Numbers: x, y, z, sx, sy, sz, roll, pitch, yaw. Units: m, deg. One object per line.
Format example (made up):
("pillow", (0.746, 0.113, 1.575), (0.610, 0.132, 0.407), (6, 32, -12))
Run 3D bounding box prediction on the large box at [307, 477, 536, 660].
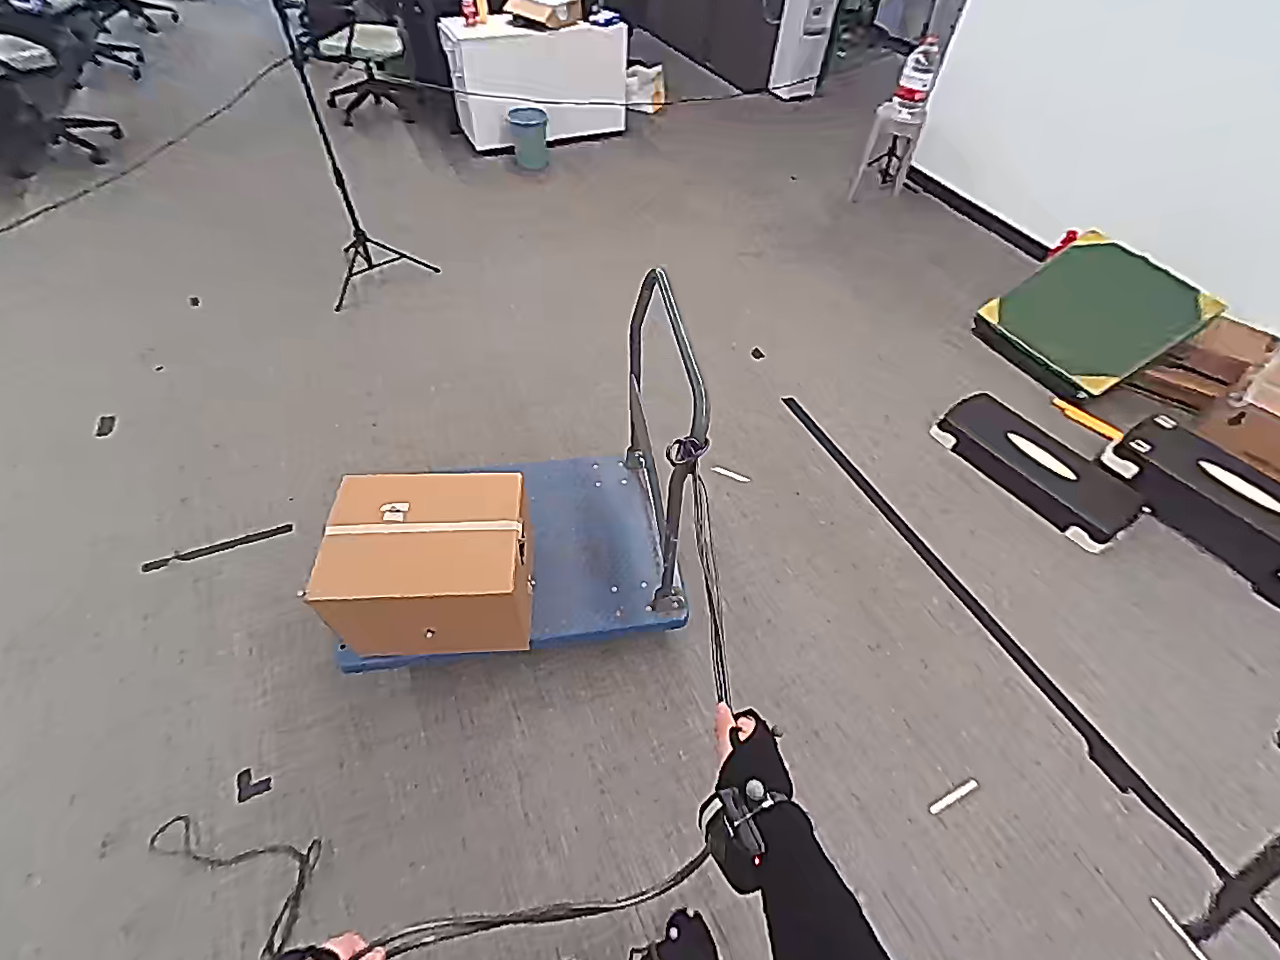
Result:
("large box", (-0.462, 0.211, 1.266), (0.408, 0.320, 0.320), (-1, 51, -4))
